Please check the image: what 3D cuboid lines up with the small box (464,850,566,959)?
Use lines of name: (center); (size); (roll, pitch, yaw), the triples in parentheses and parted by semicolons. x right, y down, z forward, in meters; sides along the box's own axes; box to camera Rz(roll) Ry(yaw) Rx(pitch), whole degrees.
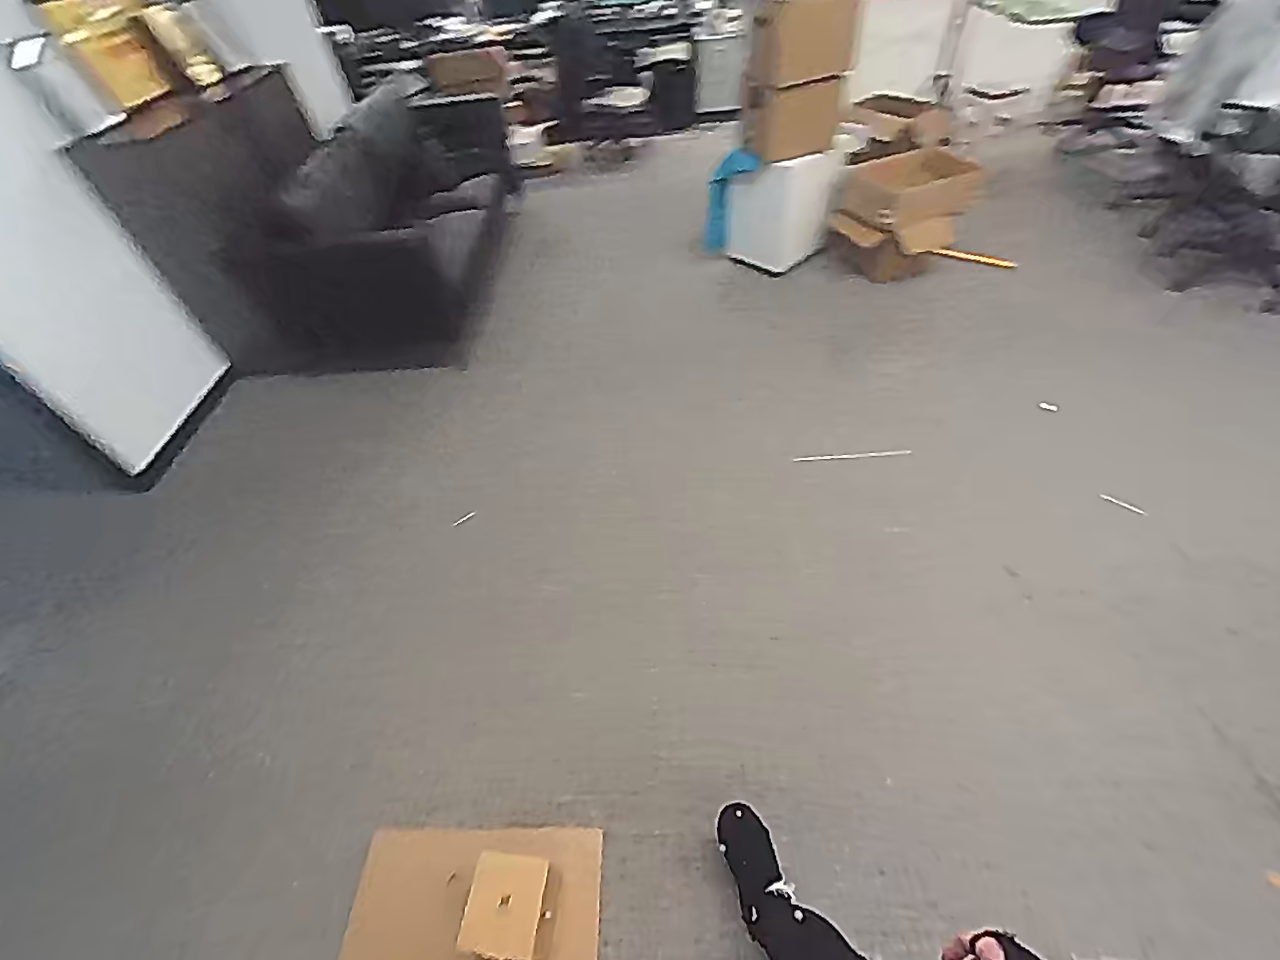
small box: (-0.274, 0.971, 1.235); (0.168, 0.176, 0.179); (1, 49, 8)
